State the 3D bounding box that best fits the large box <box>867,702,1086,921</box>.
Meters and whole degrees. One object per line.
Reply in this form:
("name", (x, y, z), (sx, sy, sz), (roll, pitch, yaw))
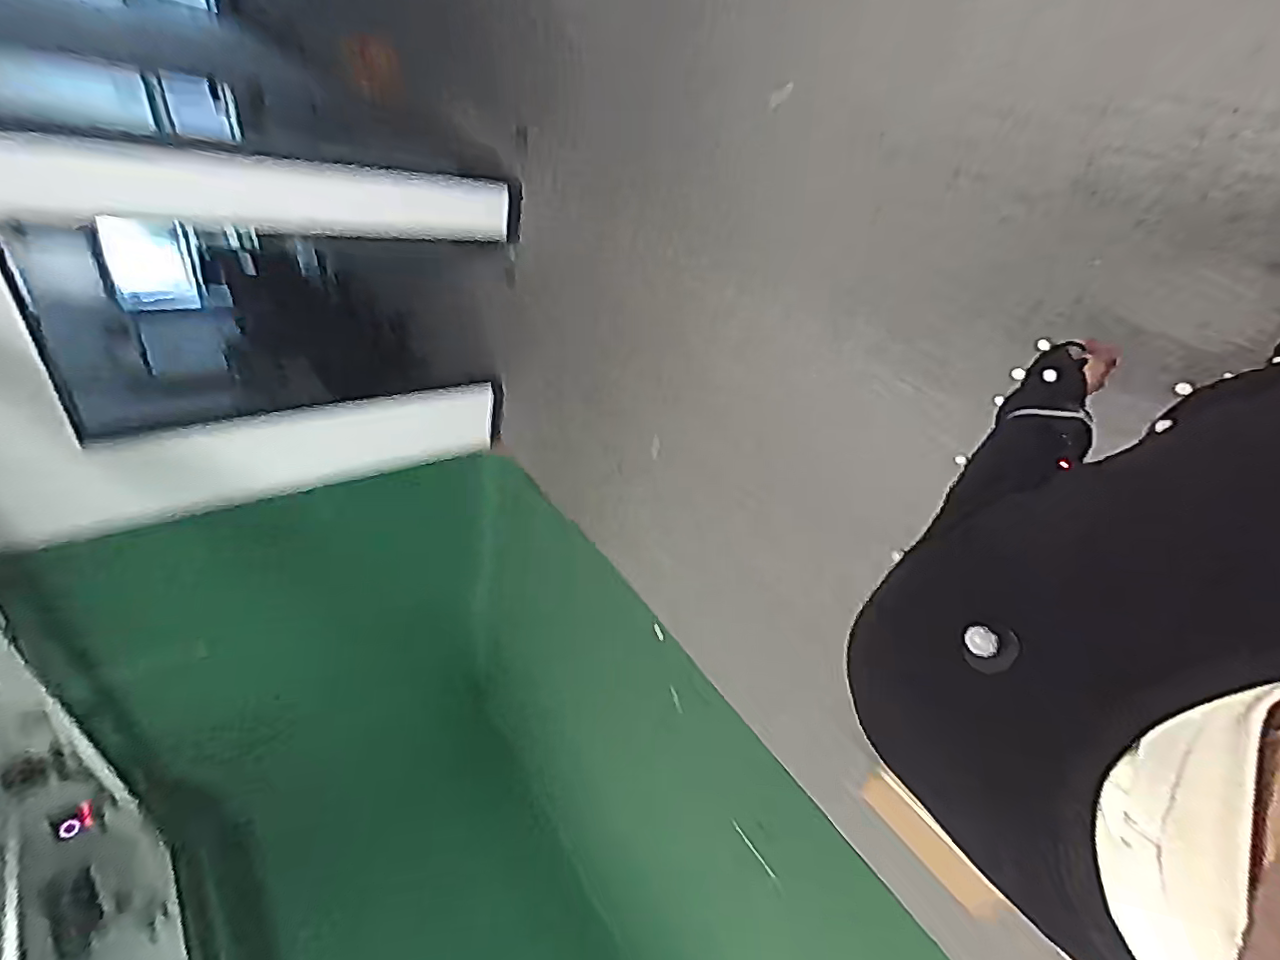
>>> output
("large box", (0.989, 0.969, 1.618), (0.408, 0.320, 0.320), (44, 133, 34))
